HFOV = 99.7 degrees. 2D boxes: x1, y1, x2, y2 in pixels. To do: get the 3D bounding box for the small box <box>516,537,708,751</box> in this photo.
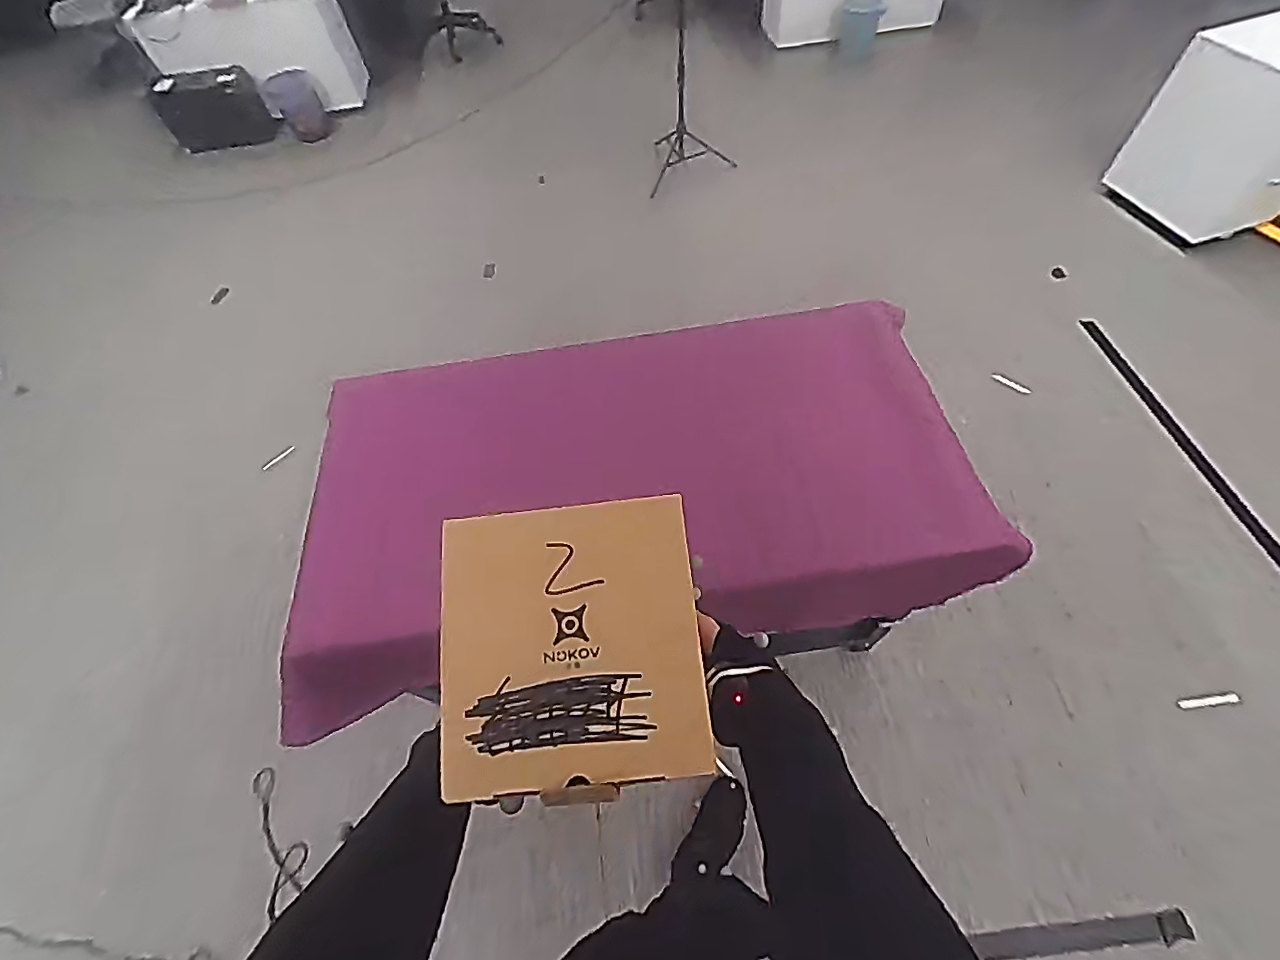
[{"bbox_3d":[-0.027,0.171,0.575,0.168,0.176,0.179,-8,73,1],"label":"small box"}]
